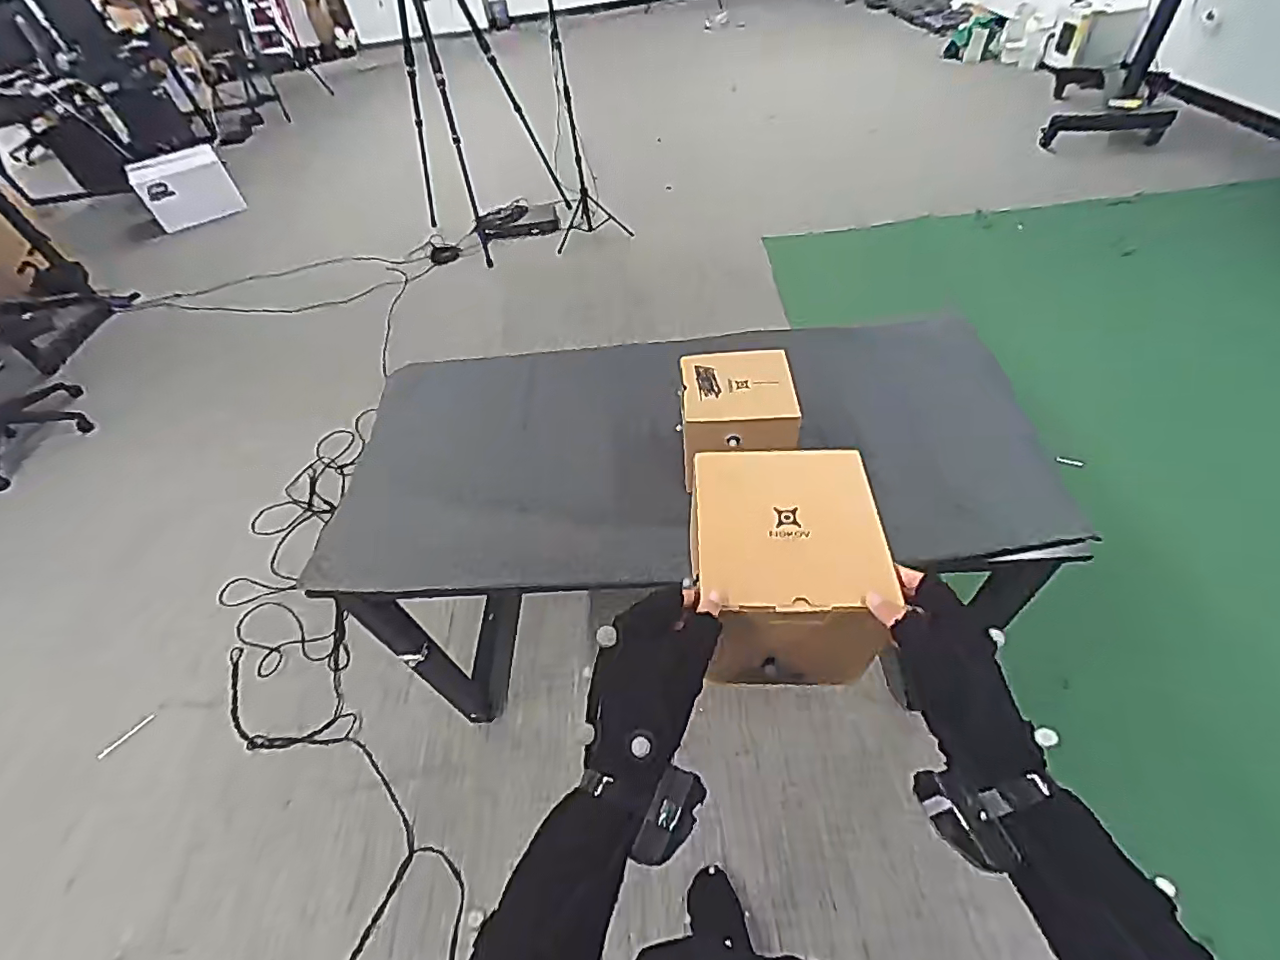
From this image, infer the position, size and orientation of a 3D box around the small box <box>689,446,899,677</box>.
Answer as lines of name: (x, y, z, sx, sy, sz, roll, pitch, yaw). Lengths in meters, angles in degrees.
small box: (0.136, 0.084, 0.556, 0.168, 0.176, 0.179, -1, 51, 4)

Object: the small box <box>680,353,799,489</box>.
small box: (0.161, -0.093, 0.915, 0.179, 0.176, 0.168, -2, 49, 5)
